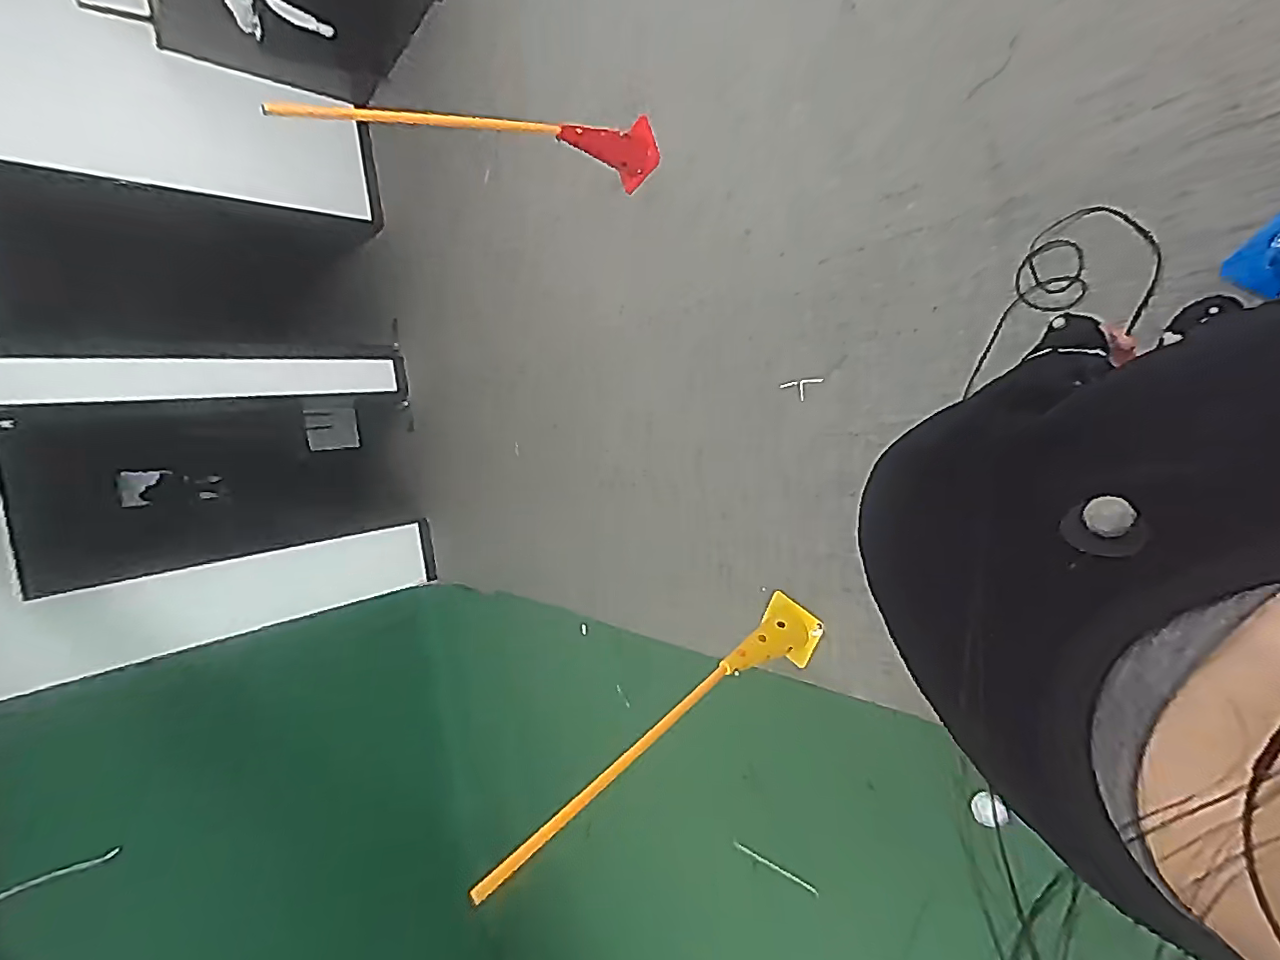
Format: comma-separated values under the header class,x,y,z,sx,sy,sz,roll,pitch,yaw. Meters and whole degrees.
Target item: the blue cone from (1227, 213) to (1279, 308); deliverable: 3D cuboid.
class,x,y,z,sx,sy,sz,roll,pitch,yaw
blue cone,1.039,-0.367,0.794,0.192,0.380,0.193,51,128,28
